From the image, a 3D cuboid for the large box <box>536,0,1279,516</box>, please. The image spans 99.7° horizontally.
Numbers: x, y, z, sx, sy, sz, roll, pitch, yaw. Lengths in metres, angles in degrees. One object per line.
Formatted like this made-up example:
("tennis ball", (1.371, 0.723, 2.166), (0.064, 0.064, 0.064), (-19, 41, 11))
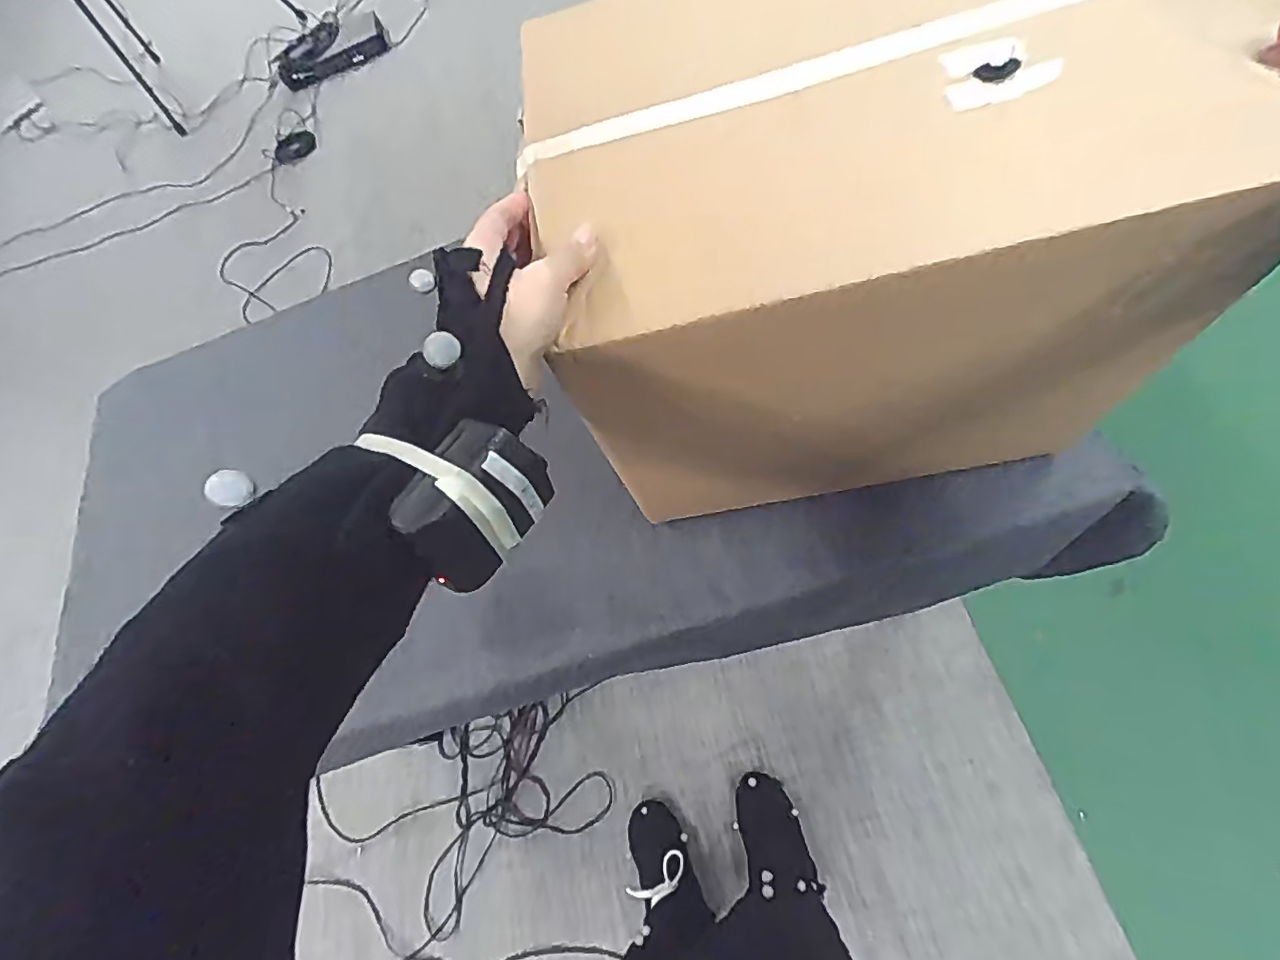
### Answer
("large box", (0.158, -0.190, 0.466), (0.408, 0.320, 0.320), (-11, 67, 7))
